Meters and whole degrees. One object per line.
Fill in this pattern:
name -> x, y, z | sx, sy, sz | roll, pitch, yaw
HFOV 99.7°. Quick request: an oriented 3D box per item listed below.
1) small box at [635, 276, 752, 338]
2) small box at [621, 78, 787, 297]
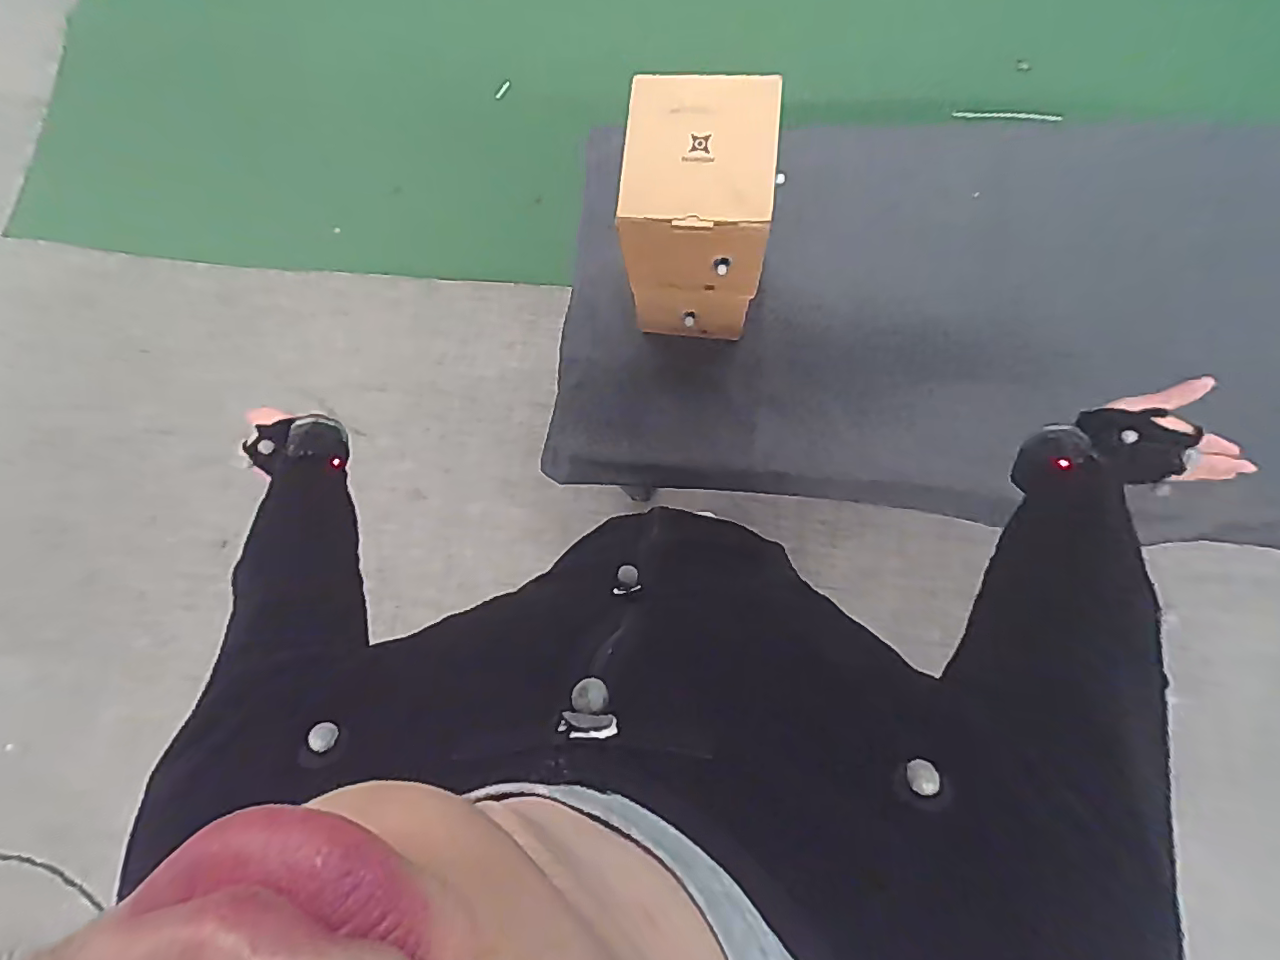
small box -> 0.092, -0.331, 0.820 | 0.168, 0.176, 0.179 | 7, 82, 6
small box -> 0.076, -0.342, 0.658 | 0.168, 0.176, 0.179 | 5, 81, 5
